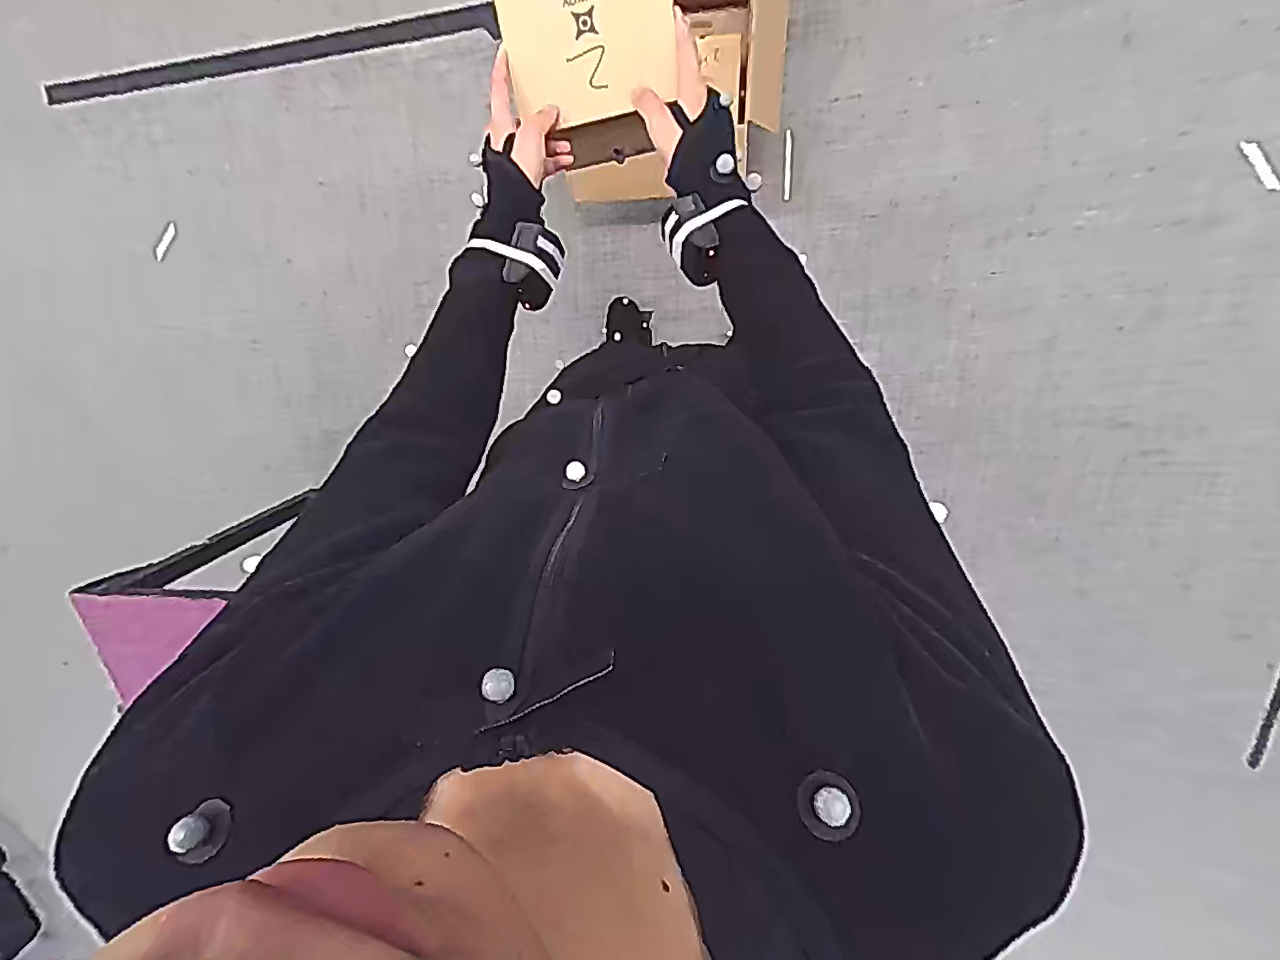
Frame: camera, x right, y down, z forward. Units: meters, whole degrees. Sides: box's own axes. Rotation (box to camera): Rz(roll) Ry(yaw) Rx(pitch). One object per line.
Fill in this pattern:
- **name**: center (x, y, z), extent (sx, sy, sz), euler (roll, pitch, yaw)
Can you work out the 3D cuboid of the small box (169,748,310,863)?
- **small box**: center (-0.933, 0.759, 1.276), extent (0.179, 0.176, 0.168), euler (-6, 110, 11)
